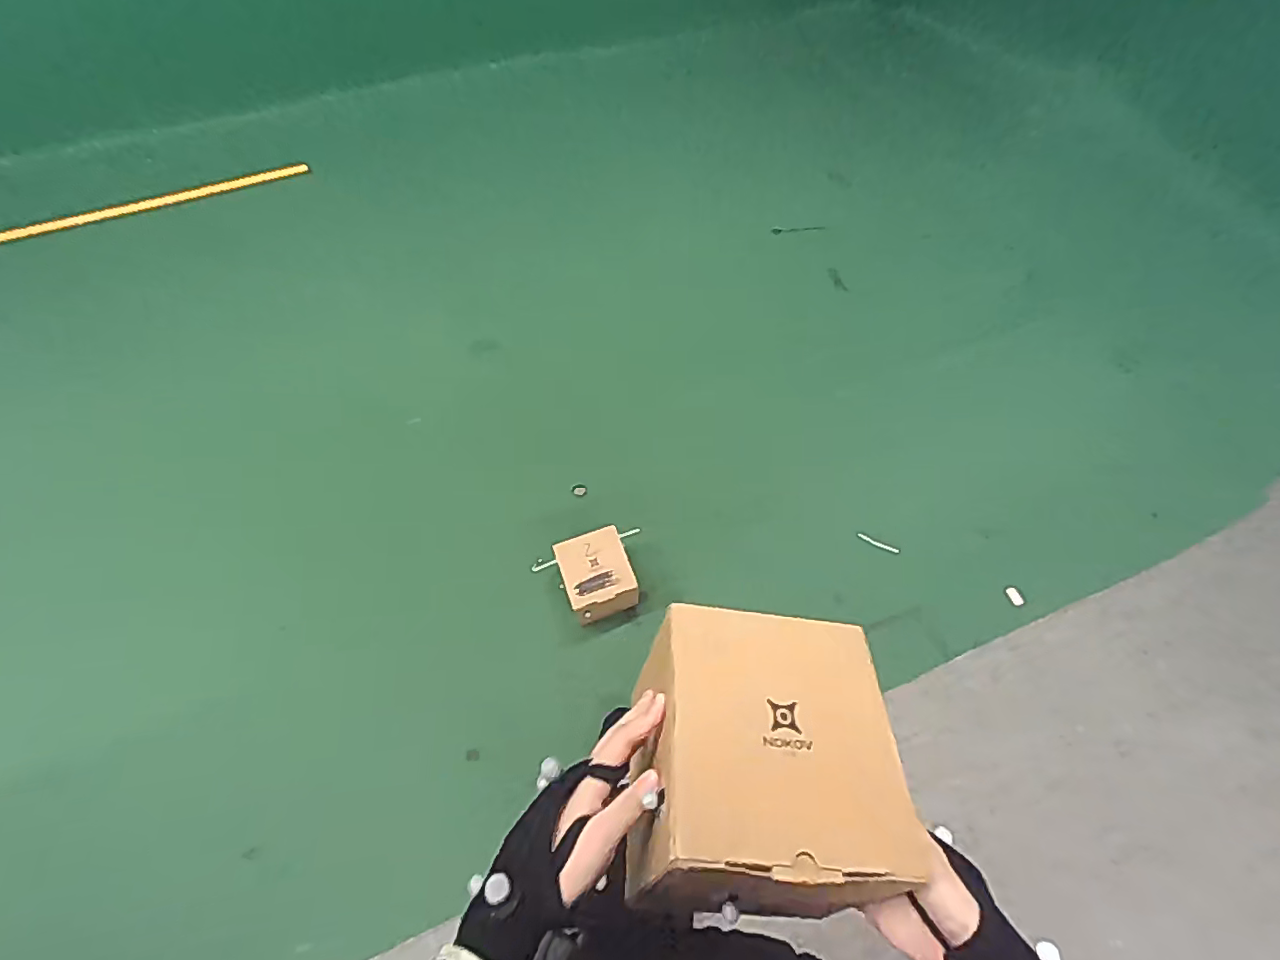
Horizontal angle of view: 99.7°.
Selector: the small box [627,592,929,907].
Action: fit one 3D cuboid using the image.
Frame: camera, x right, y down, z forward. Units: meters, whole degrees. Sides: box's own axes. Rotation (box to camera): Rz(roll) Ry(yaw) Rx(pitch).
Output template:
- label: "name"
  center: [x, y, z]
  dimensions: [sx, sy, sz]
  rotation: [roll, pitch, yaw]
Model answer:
- label: "small box"
  center: [0.086, 0.218, 0.436]
  dimensions: [0.168, 0.176, 0.179]
  rotation: [9, 46, -6]
